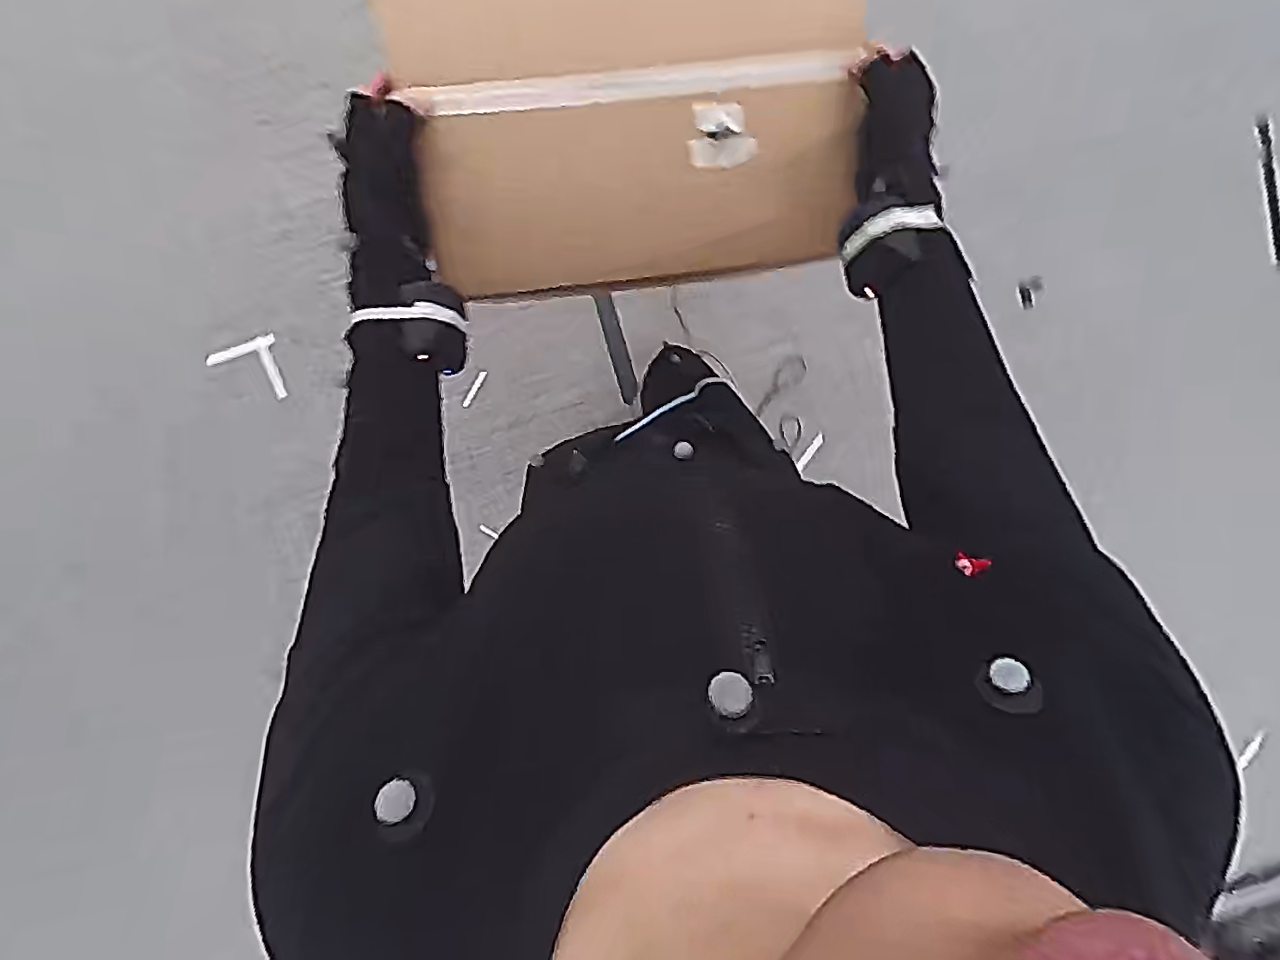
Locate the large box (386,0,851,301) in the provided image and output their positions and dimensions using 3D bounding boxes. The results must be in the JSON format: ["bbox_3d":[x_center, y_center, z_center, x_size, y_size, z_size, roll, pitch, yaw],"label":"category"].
[{"bbox_3d":[-0.022,-0.392,0.622,0.408,0.320,0.320,-8,109,-5],"label":"large box"}]
